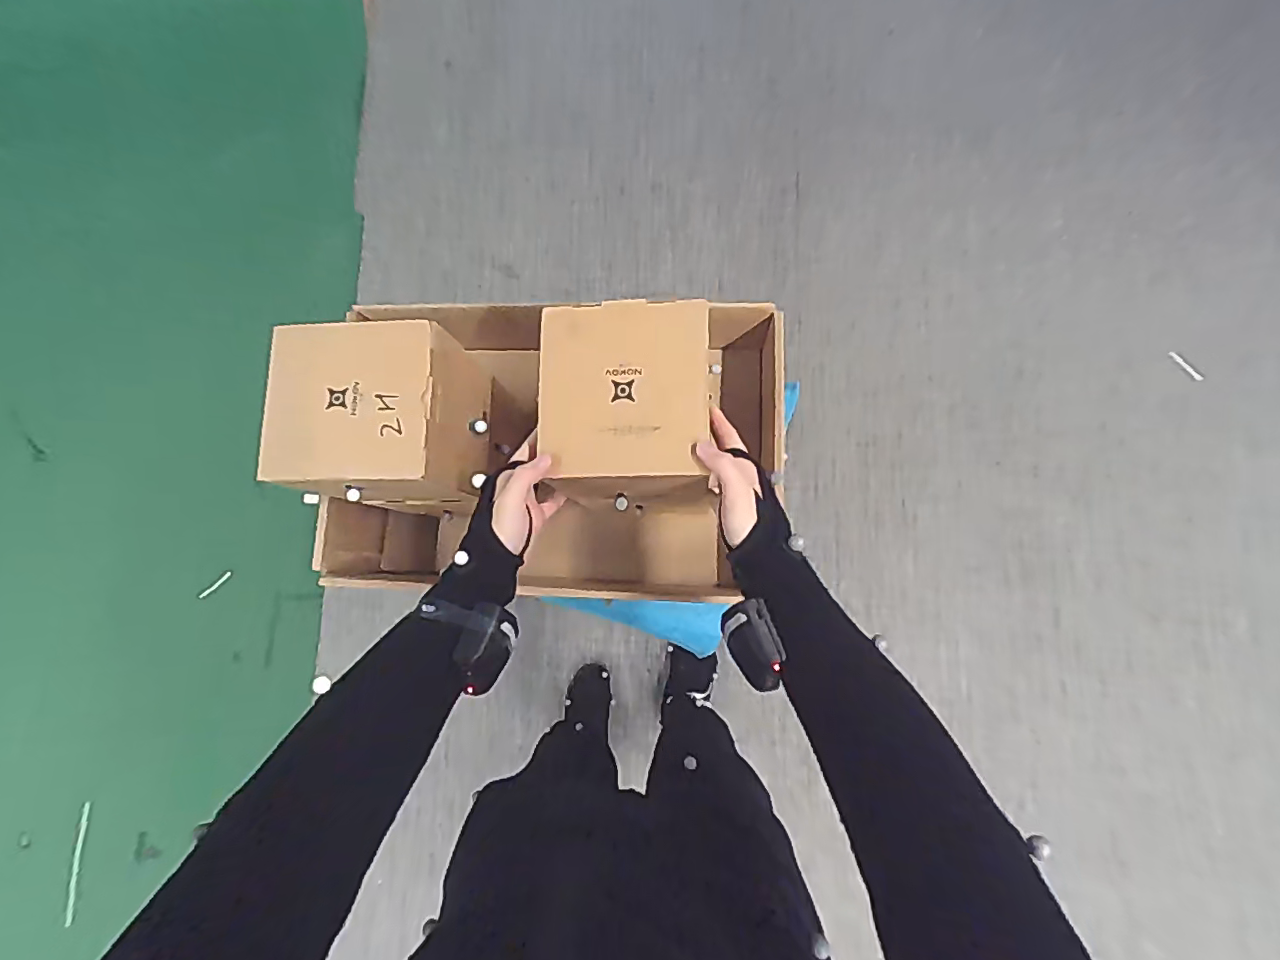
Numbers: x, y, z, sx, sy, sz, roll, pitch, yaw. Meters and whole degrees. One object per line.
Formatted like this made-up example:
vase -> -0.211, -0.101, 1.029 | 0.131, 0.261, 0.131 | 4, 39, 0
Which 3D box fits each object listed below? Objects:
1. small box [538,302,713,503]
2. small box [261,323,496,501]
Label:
small box -> -0.005, -0.073, 0.593 | 0.168, 0.176, 0.179 | -1, 81, 6
small box -> -0.283, -0.066, 0.622 | 0.179, 0.176, 0.168 | 0, 81, 5
